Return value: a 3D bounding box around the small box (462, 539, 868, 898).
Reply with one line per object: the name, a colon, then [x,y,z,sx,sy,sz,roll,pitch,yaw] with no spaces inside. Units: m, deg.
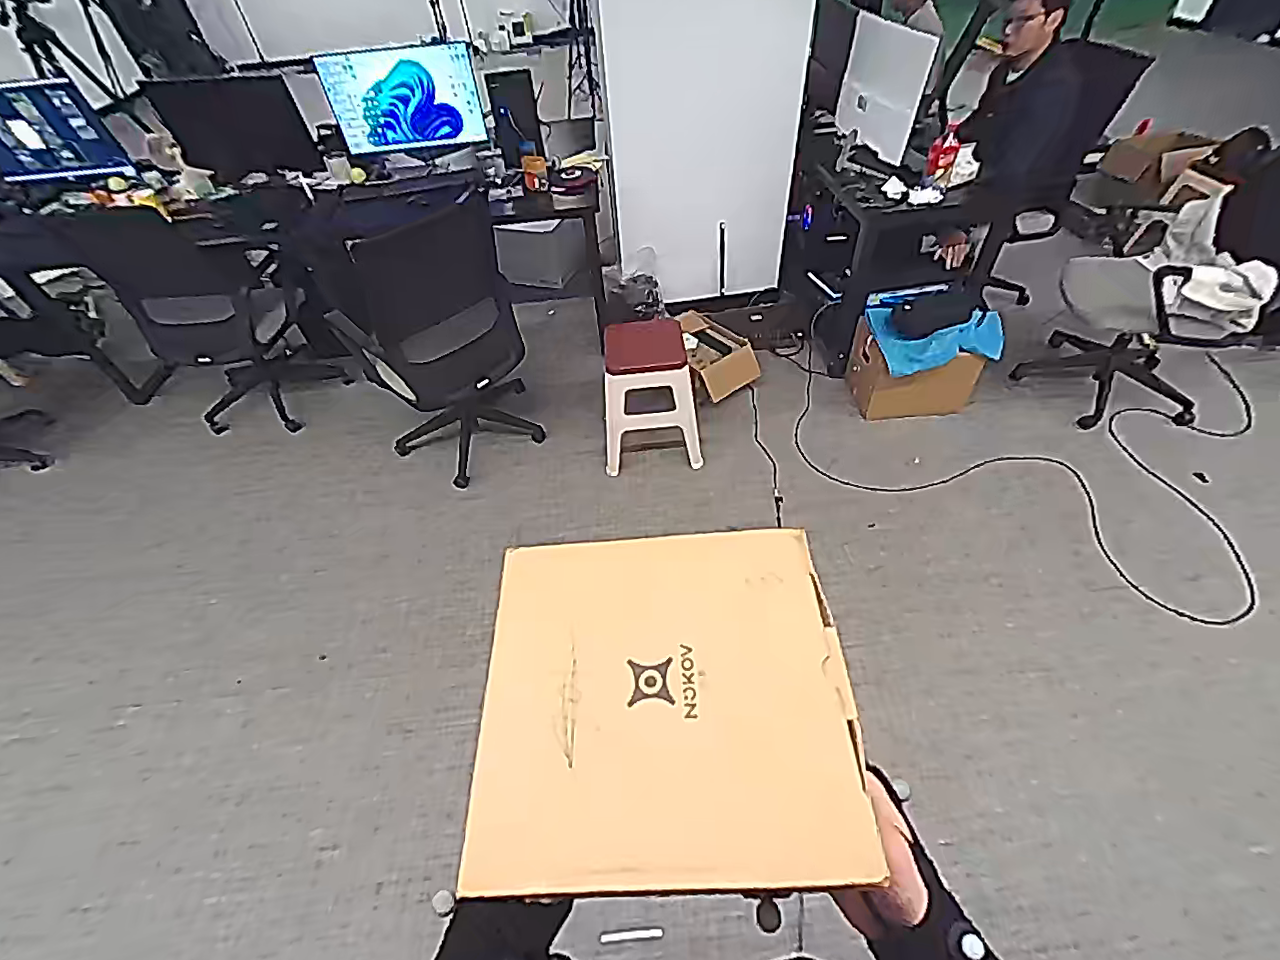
small box: [0.016,0.155,0.338,0.179,0.176,0.168,-5,51,5]
